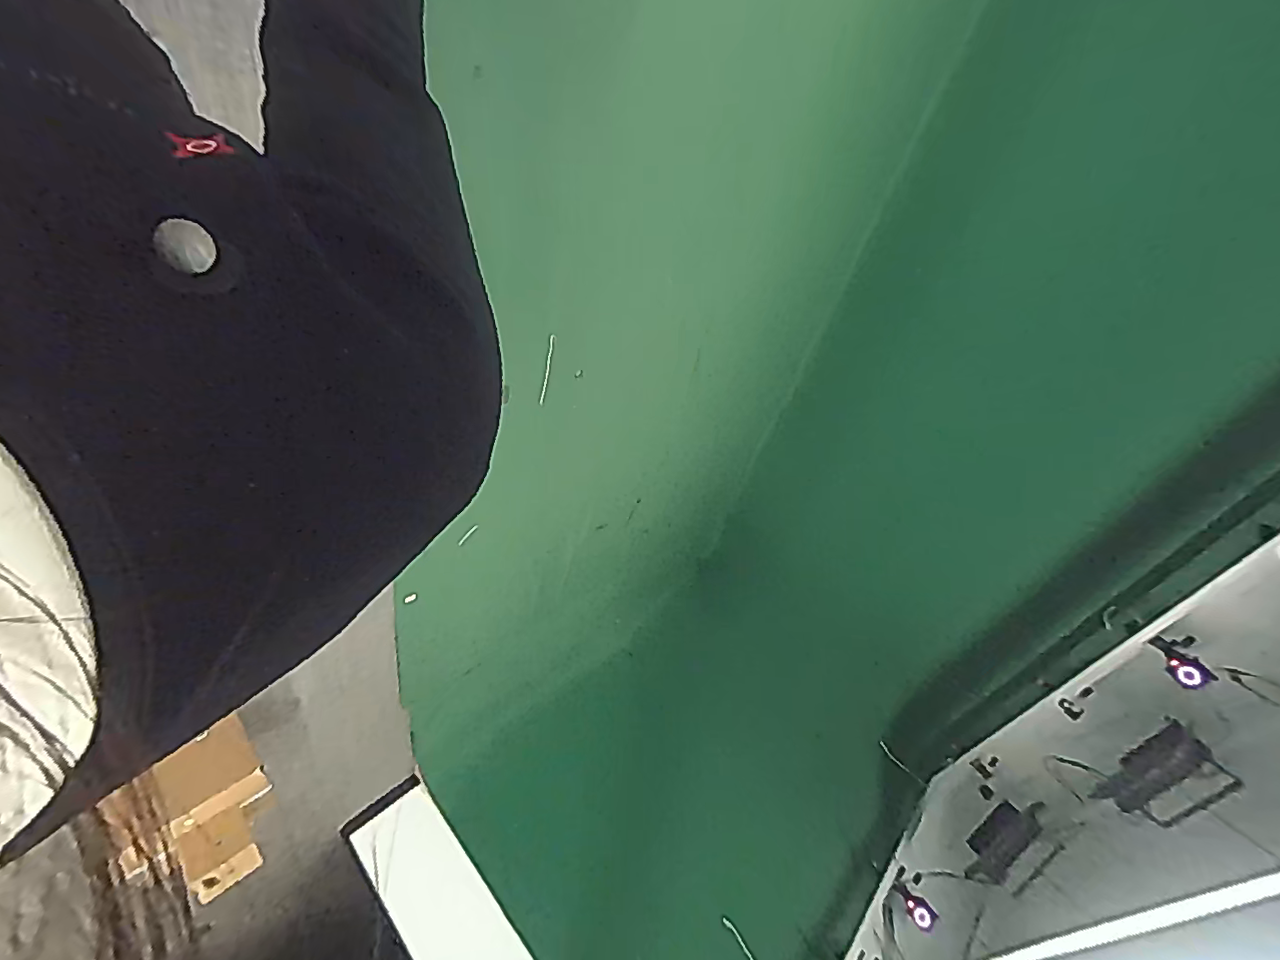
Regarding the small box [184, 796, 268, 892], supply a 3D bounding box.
[{"bbox_3d":[-1.396,1.219,1.818,0.179,0.176,0.168,-26,140,-39],"label":"small box"}]
